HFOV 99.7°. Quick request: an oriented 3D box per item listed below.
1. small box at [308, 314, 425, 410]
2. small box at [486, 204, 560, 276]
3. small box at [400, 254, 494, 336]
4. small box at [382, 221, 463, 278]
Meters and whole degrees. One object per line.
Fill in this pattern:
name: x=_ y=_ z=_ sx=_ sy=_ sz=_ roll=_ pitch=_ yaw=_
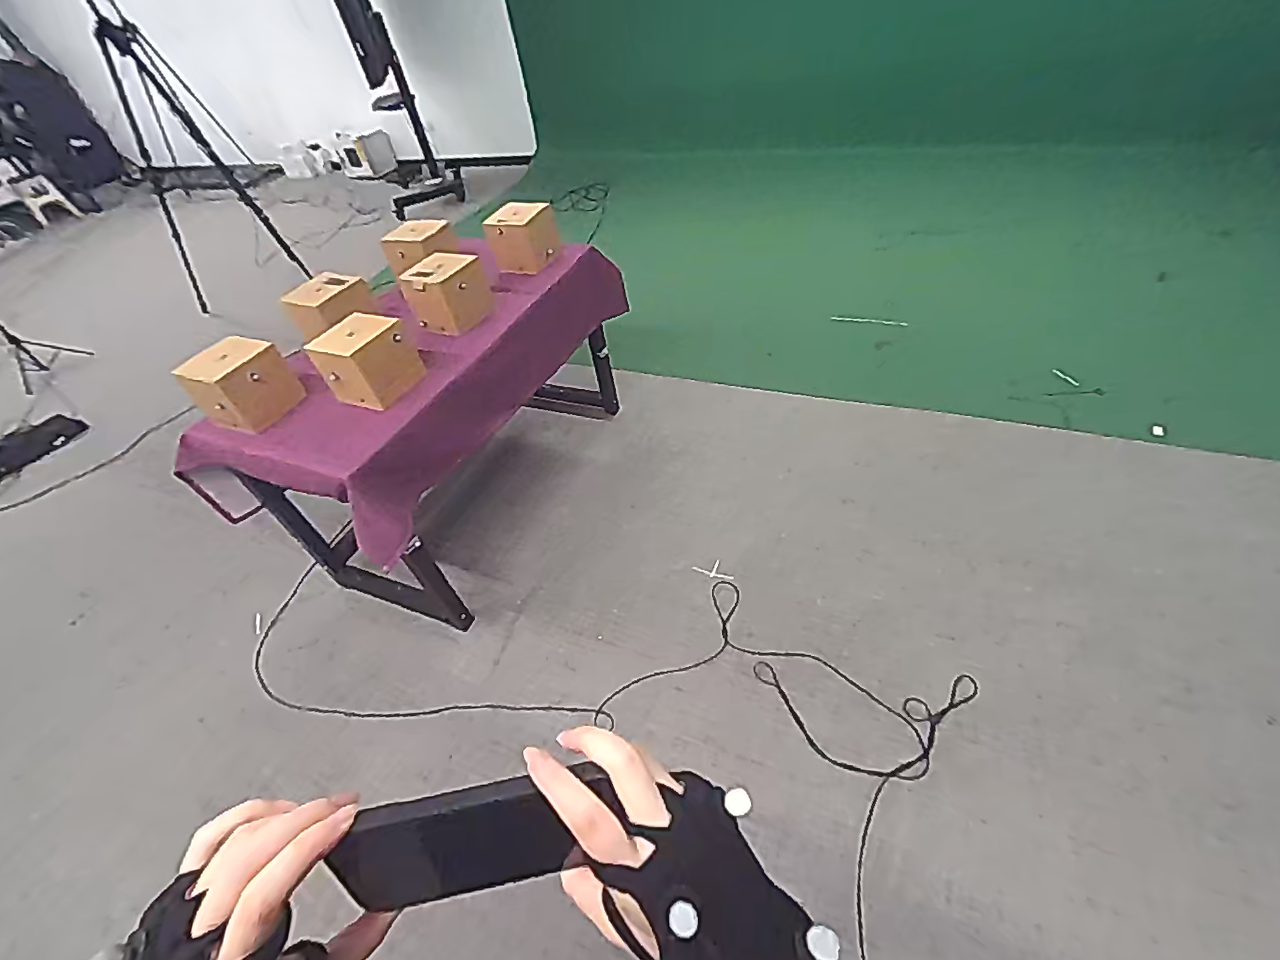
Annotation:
small box: x=-0.689 y=-0.301 z=1.386 sx=0.168 sy=0.176 sz=0.179 roll=14 pitch=49 yaw=23
small box: x=-0.387 y=-0.814 z=1.830 sx=0.168 sy=0.176 sz=0.179 roll=11 pitch=49 yaw=21
small box: x=-0.562 y=-0.548 z=1.604 sx=0.168 sy=0.176 sz=0.179 roll=15 pitch=50 yaw=24
small box: x=-0.729 y=-0.765 z=1.846 sx=0.179 sy=0.176 sz=0.168 roll=11 pitch=49 yaw=20
